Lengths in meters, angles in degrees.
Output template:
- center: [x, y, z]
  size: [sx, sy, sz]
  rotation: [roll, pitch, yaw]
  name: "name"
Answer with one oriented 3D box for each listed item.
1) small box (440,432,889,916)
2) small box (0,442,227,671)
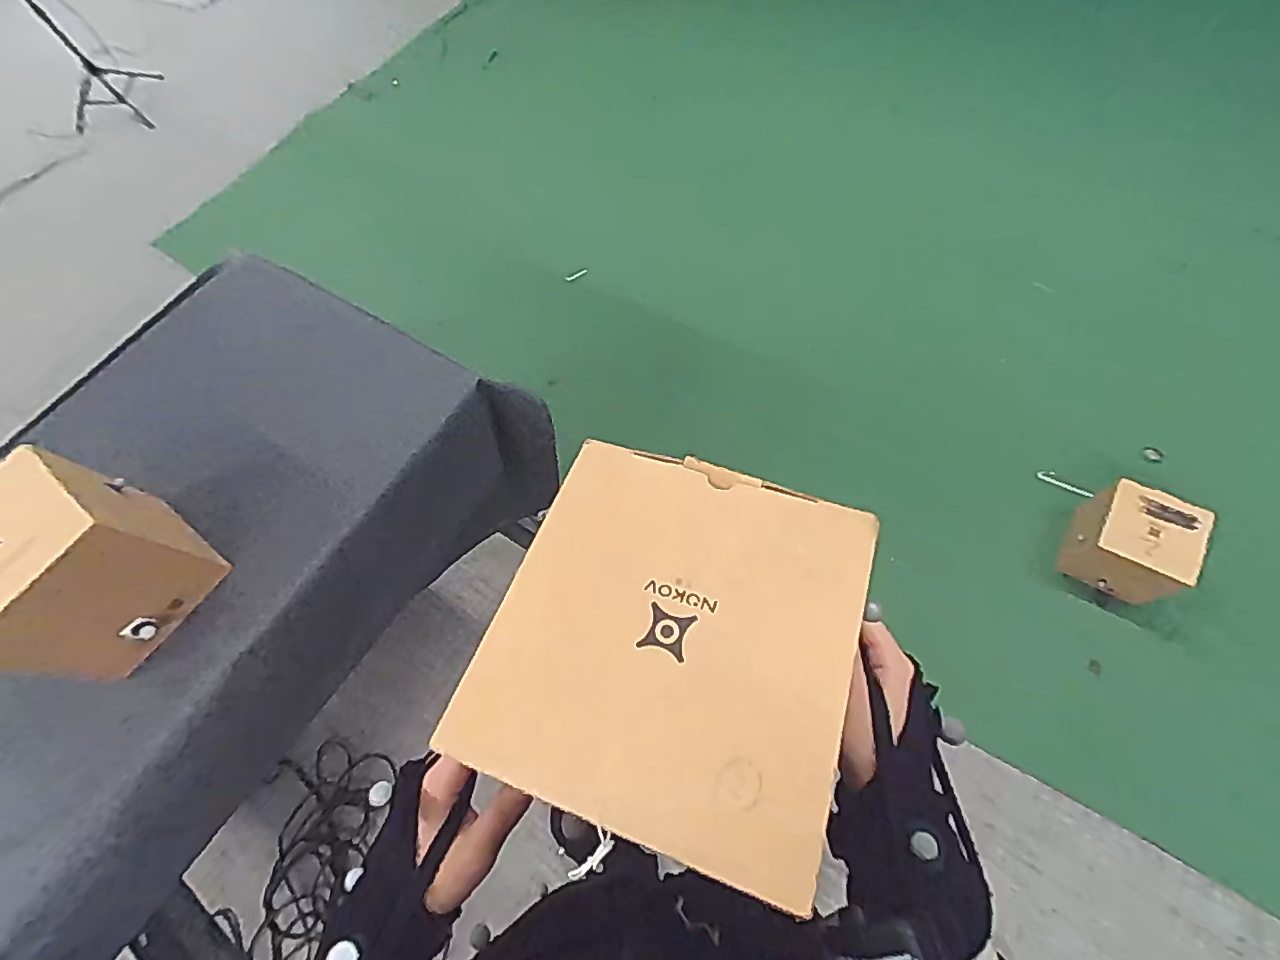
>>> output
- center: [0.026, 0.104, 0.316]
  size: [0.168, 0.176, 0.179]
  rotation: [15, 61, 15]
  name: "small box"
- center: [-0.626, 0.093, 0.600]
  size: [0.179, 0.176, 0.168]
  rotation: [29, 74, 20]
  name: "small box"
